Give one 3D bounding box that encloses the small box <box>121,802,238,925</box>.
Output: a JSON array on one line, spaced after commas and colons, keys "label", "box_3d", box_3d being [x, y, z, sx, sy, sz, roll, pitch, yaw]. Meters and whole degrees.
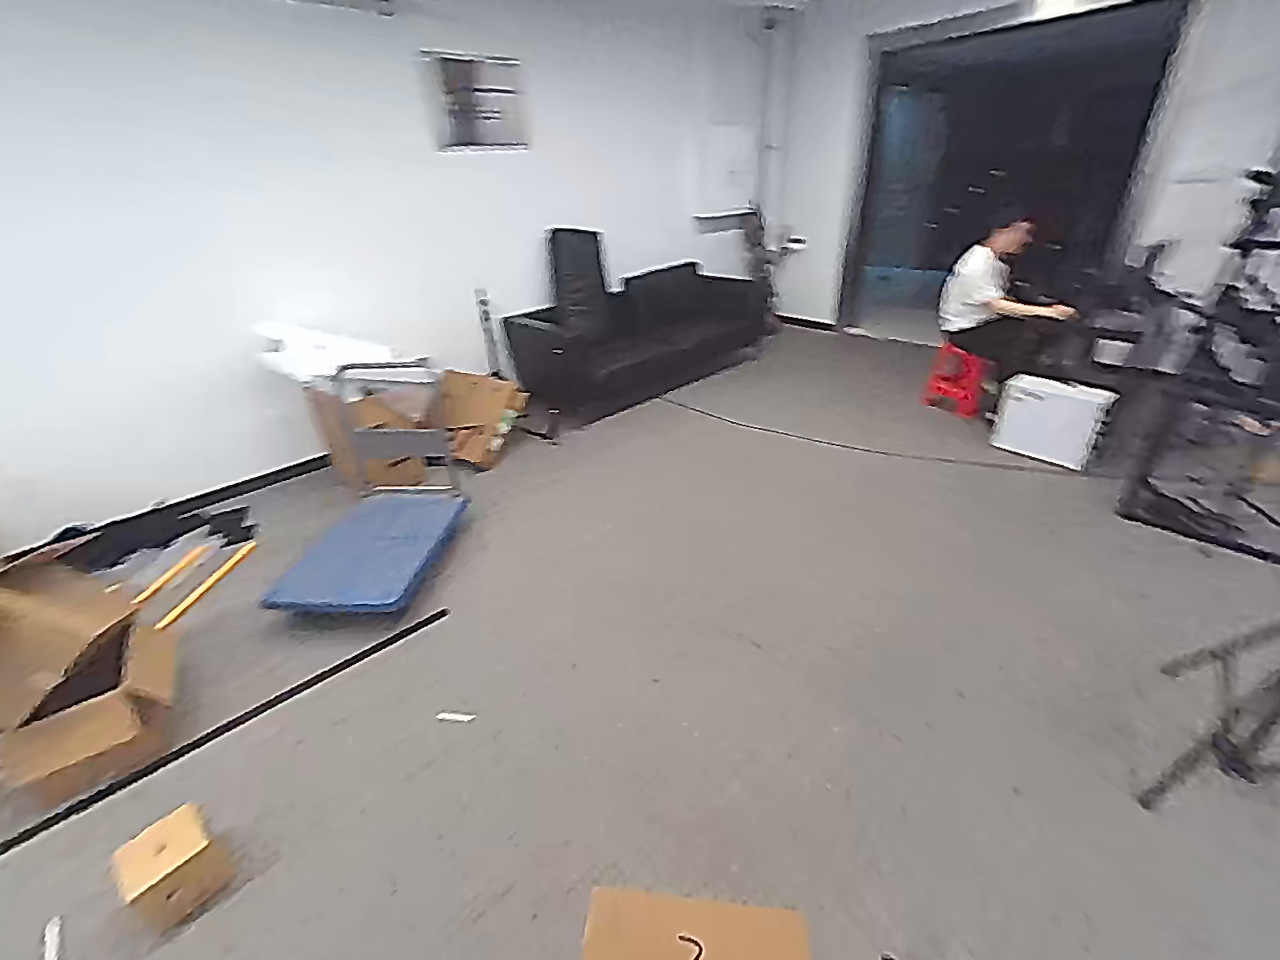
[{"label": "small box", "box_3d": [-1.178, 0.992, 1.393, 0.179, 0.176, 0.168, 20, 36, 37]}]
